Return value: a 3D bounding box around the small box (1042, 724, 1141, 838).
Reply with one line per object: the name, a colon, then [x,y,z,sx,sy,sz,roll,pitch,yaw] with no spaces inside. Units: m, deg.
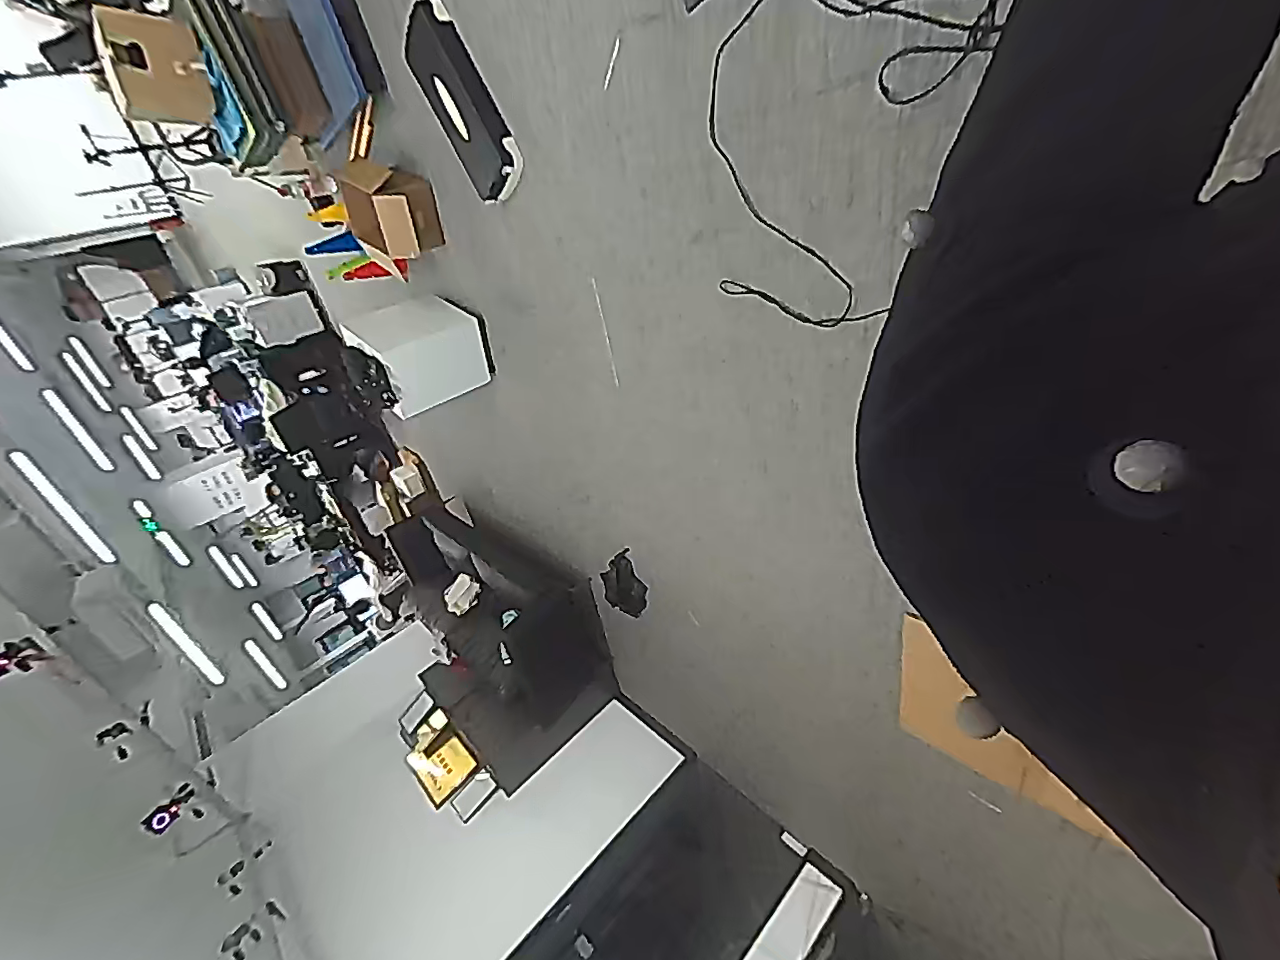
small box: [1.243,0.822,1.488,0.168,0.176,0.179,19,132,44]
